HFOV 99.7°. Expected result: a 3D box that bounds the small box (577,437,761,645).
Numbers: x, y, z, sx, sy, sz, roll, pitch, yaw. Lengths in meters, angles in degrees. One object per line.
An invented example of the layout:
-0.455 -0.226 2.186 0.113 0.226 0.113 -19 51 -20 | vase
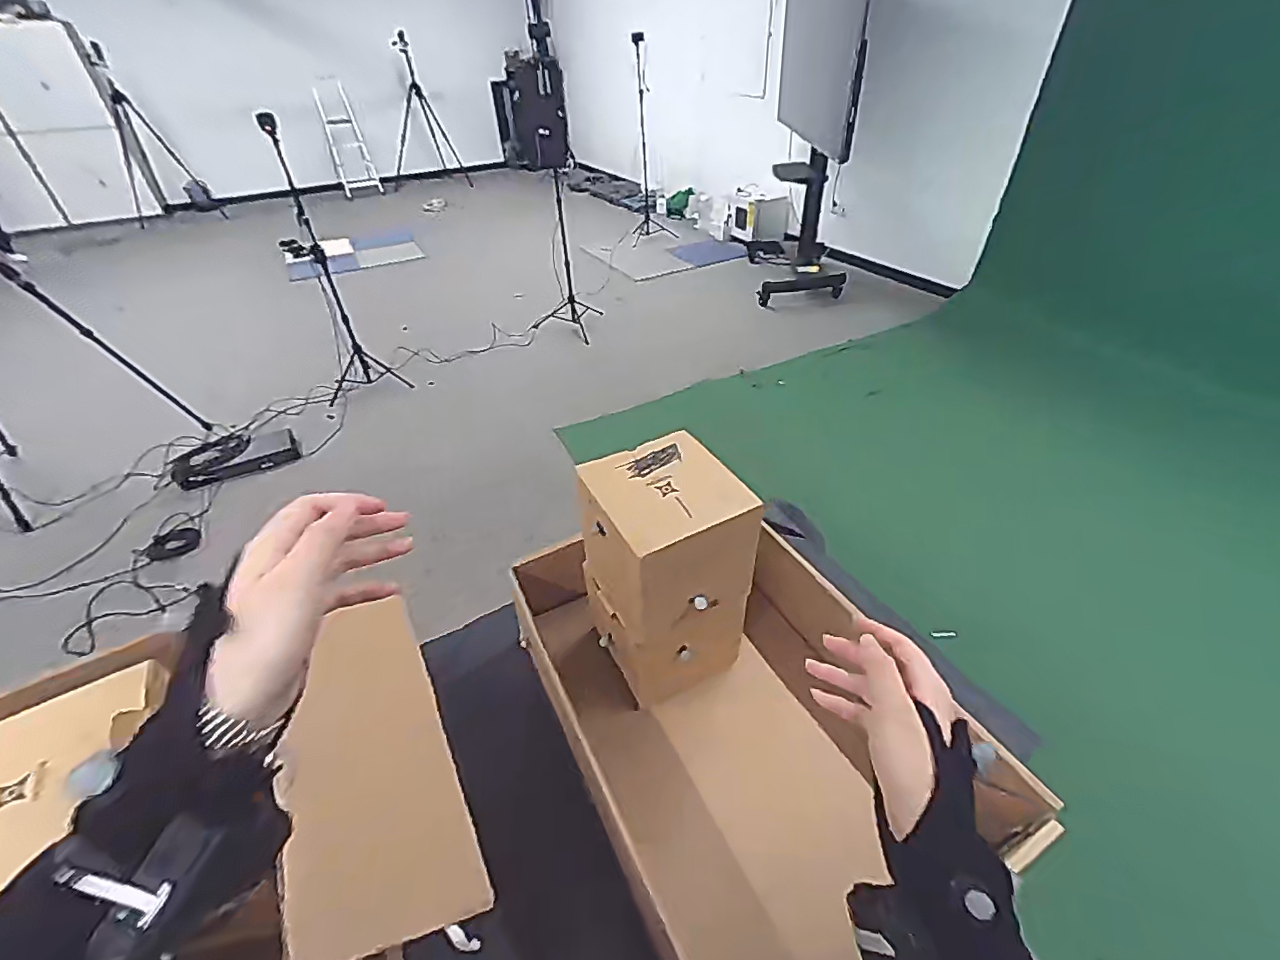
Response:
0.031 0.075 0.700 0.168 0.176 0.179 -21 44 -20 | small box
